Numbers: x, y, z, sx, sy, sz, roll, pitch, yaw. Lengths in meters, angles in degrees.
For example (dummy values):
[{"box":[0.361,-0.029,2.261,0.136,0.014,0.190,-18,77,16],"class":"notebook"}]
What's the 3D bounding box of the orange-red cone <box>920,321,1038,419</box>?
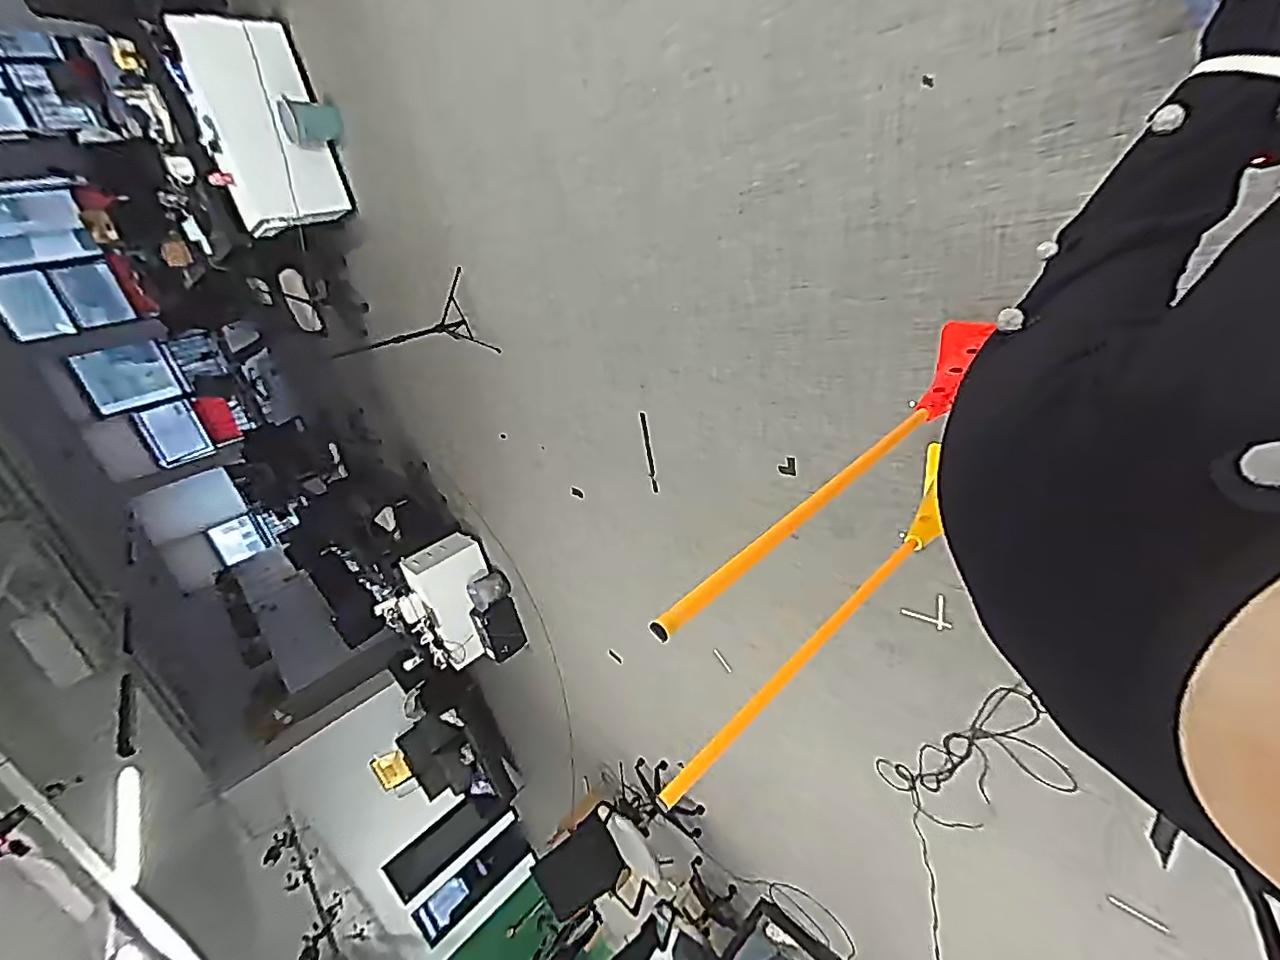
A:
[{"box":[0.724,-0.217,1.229,0.198,0.360,0.199,22,129,40],"class":"orange-red cone"}]
